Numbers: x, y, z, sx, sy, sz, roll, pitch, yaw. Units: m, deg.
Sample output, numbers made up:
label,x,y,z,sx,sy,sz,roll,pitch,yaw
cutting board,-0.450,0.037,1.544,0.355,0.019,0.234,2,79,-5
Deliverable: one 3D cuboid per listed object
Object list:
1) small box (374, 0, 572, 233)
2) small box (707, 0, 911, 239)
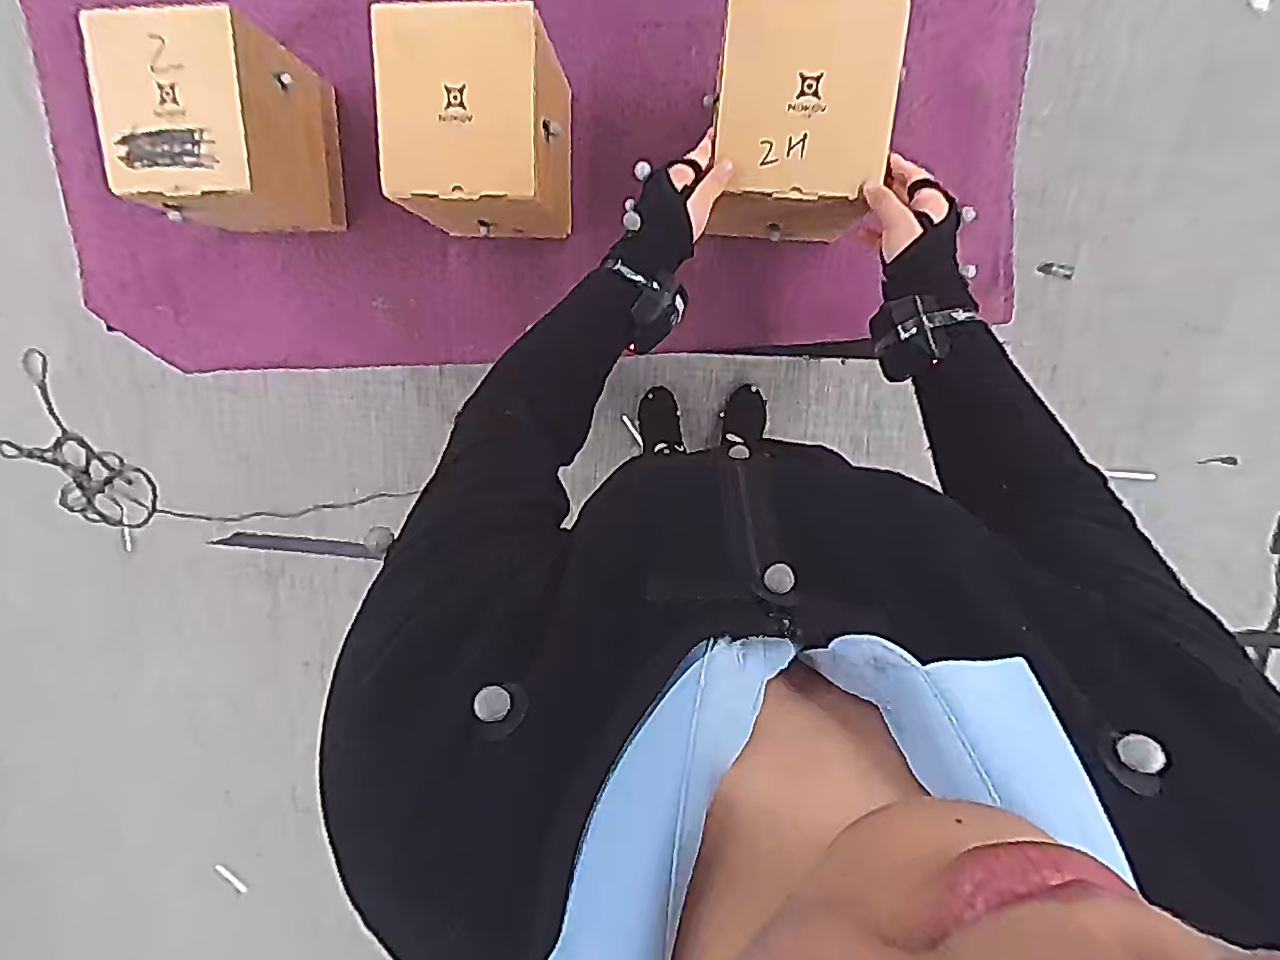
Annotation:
label,x,y,z,sx,sy,sz,roll,pitch,yaw
small box,-0.176,-0.397,0.616,0.168,0.176,0.179,3,103,4
small box,0.163,-0.378,0.584,0.168,0.176,0.179,5,102,4
